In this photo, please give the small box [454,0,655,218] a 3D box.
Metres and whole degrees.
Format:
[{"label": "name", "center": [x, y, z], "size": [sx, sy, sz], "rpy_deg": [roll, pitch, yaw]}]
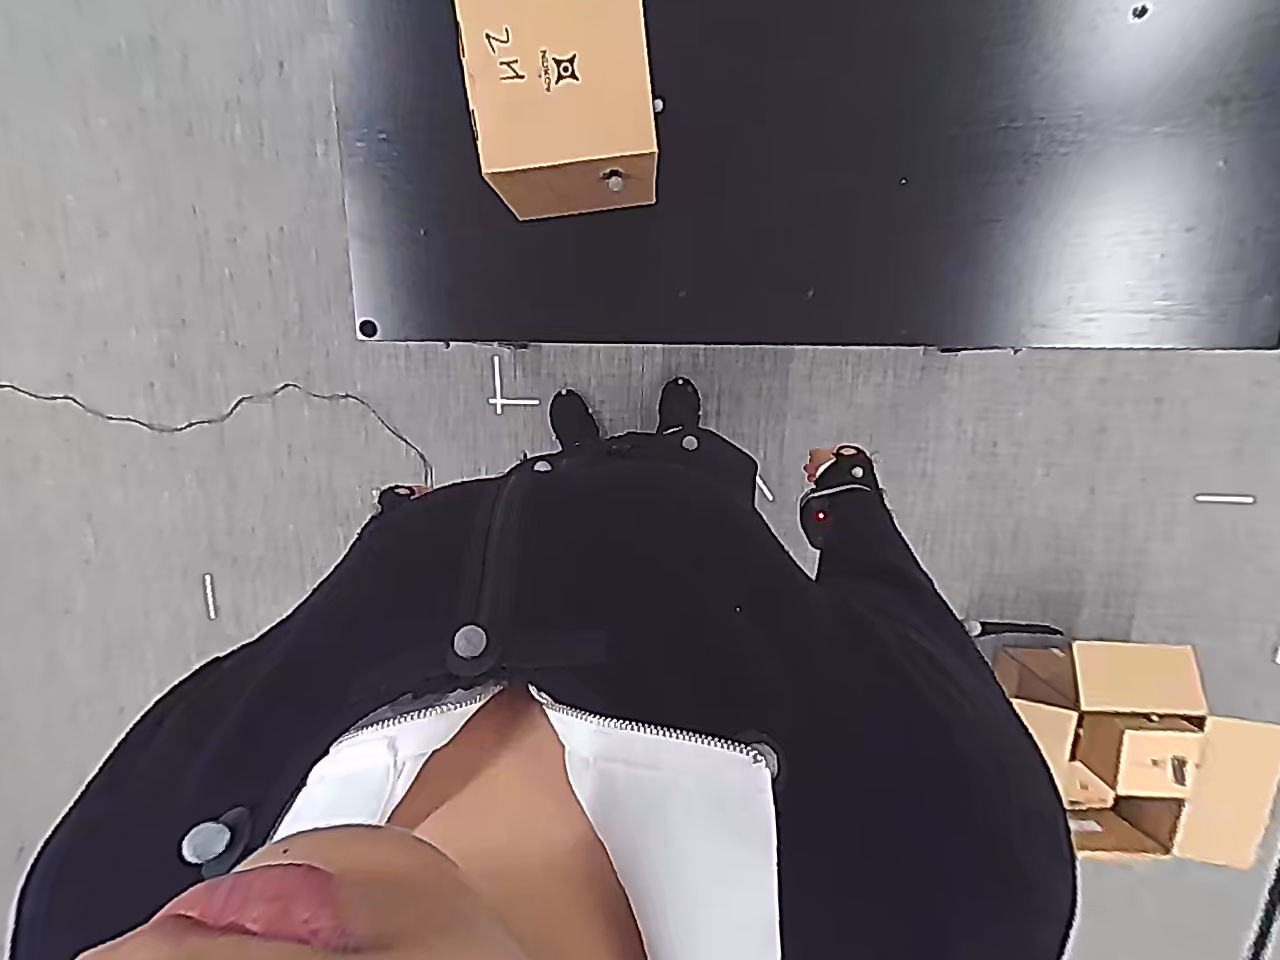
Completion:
[{"label": "small box", "center": [-0.080, -0.405, 0.594], "size": [0.179, 0.176, 0.168], "rpy_deg": [-6, 101, 2]}]
